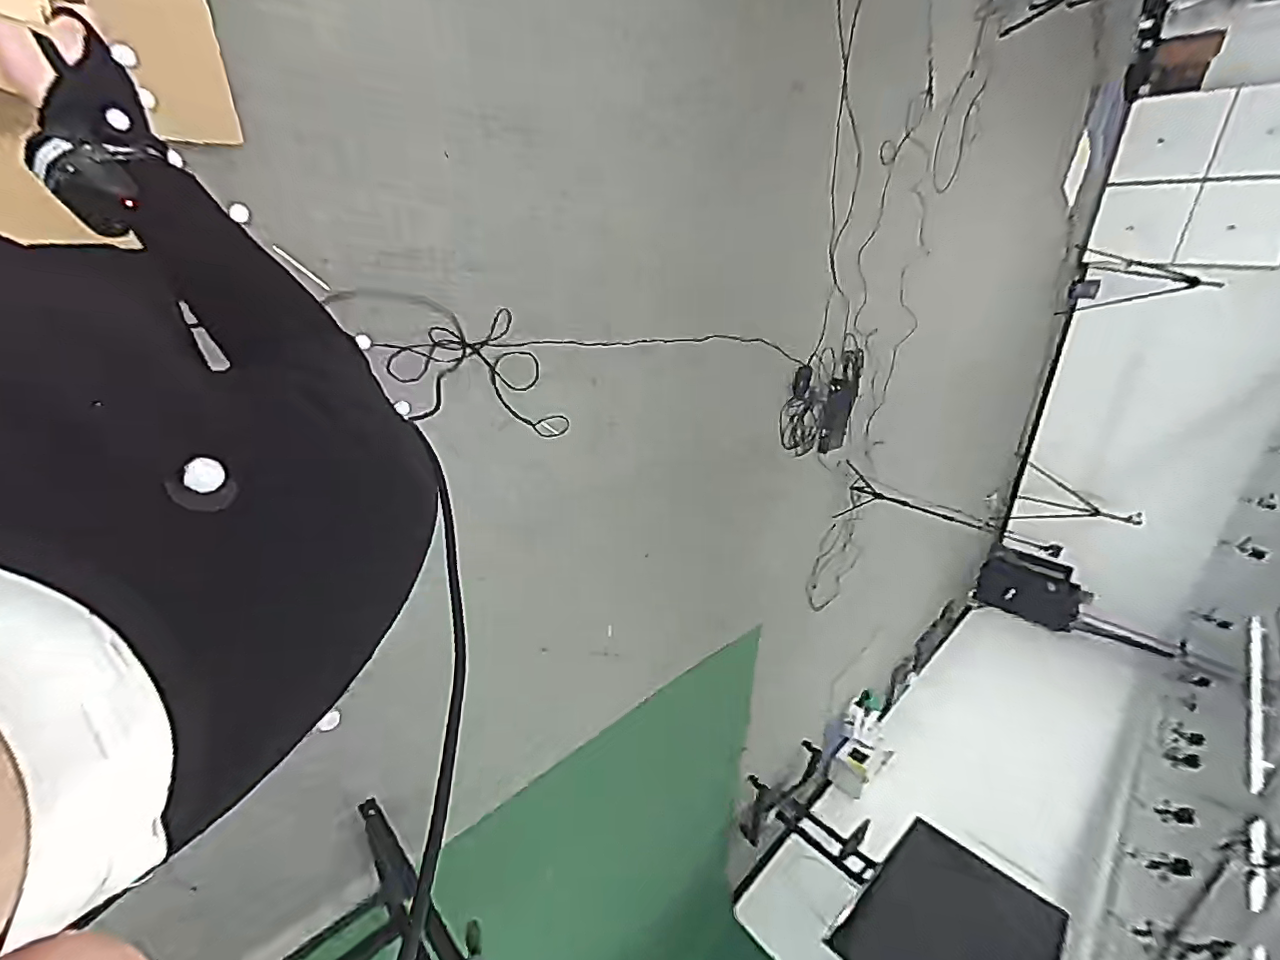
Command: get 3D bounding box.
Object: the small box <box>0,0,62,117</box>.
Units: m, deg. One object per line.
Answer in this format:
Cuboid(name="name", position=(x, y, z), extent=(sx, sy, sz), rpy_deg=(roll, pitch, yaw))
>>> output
Cuboid(name="small box", position=(-0.586, -0.398, 0.412), extent=(0.179, 0.176, 0.168), rpy_deg=(-11, 118, -46))
